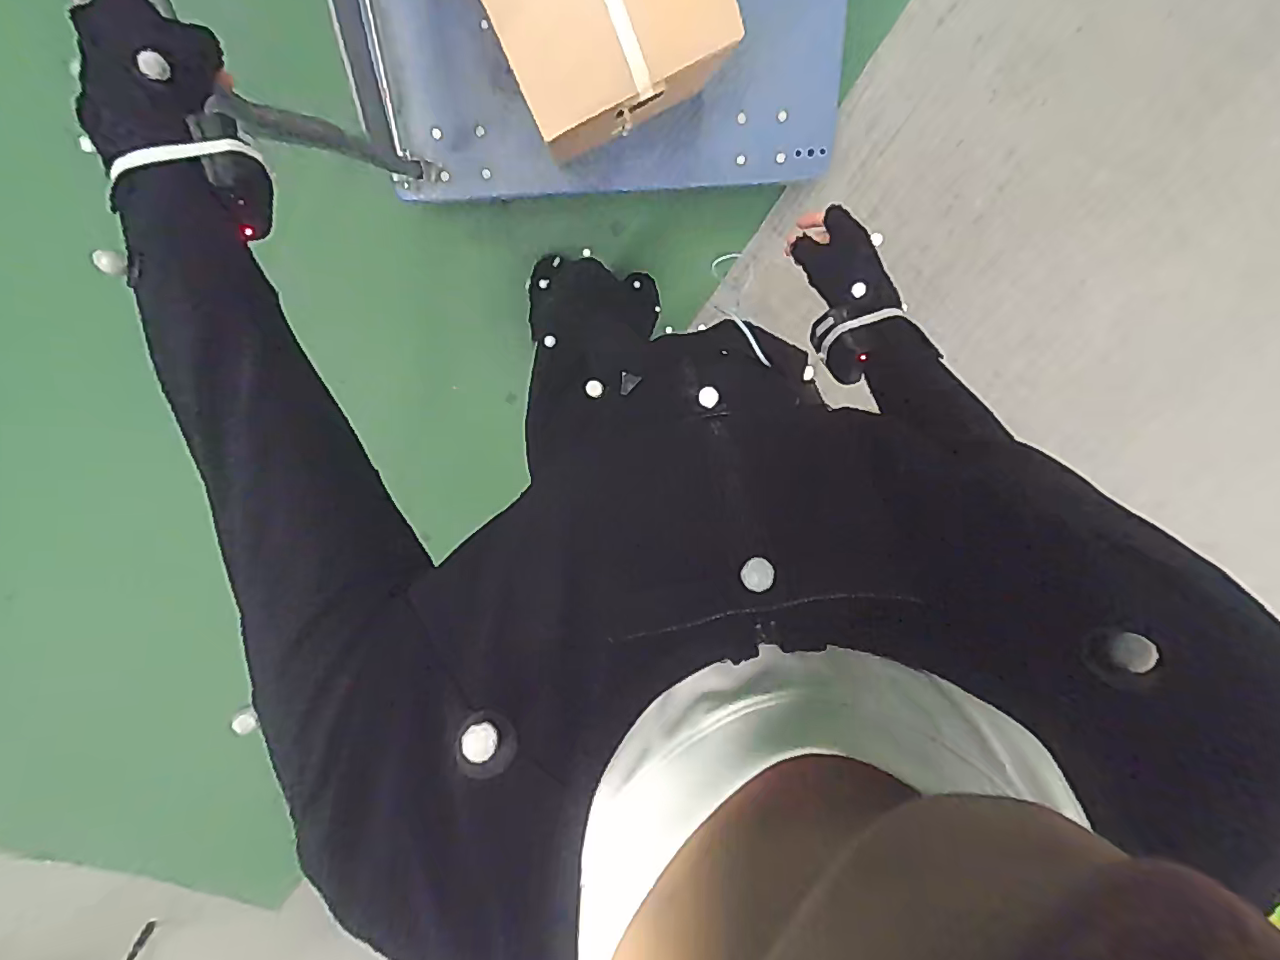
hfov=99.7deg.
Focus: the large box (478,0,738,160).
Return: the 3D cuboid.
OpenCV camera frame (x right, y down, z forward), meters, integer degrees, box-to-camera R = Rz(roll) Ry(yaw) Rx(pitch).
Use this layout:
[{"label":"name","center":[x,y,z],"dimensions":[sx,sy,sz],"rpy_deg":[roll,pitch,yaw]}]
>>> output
[{"label":"large box","center":[-0.091,-0.773,0.811],"dimensions":[0.320,0.320,0.408],"rpy_deg":[-23,114,6]}]
